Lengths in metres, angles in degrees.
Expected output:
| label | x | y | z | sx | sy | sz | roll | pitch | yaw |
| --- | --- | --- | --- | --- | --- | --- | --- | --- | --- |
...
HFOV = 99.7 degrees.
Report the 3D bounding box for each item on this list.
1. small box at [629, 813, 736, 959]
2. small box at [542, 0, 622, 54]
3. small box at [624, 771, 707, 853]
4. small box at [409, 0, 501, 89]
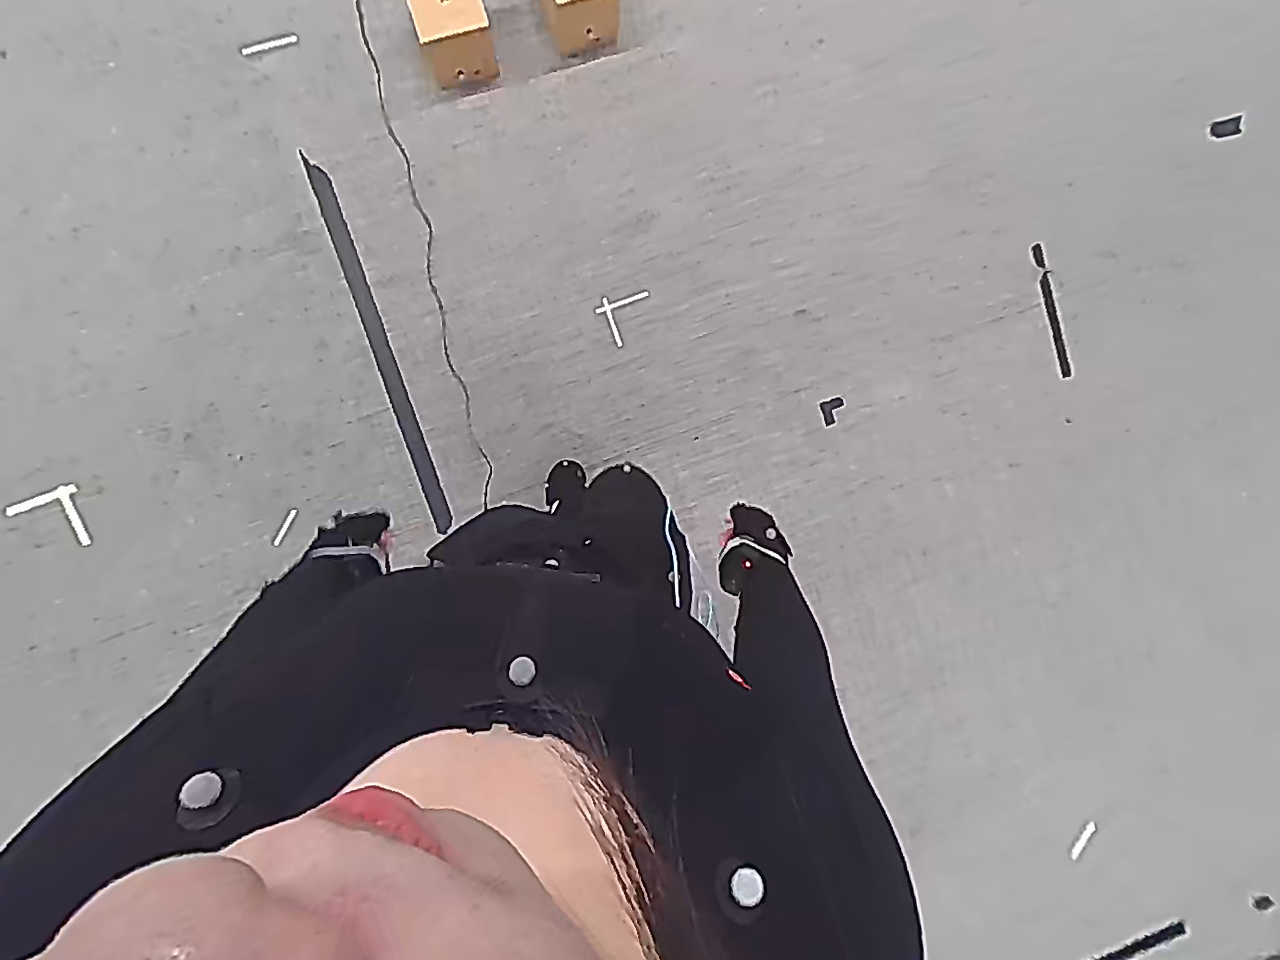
| label | x | y | z | sx | sy | sz | roll | pitch | yaw |
| --- | --- | --- | --- | --- | --- | --- | --- | --- | --- |
| small box | 0.082 | 0.846 | 1.125 | 0.168 | 0.176 | 0.179 | -17 | 96 | -4 |
| small box | -0.152 | -1.217 | 1.336 | 0.168 | 0.176 | 0.179 | -21 | 95 | -4 |
| small box | 0.062 | 0.835 | 1.288 | 0.179 | 0.176 | 0.168 | -15 | 95 | -5 |
| small box | -0.453 | -1.108 | 1.315 | 0.168 | 0.176 | 0.179 | -17 | 95 | -3 |
